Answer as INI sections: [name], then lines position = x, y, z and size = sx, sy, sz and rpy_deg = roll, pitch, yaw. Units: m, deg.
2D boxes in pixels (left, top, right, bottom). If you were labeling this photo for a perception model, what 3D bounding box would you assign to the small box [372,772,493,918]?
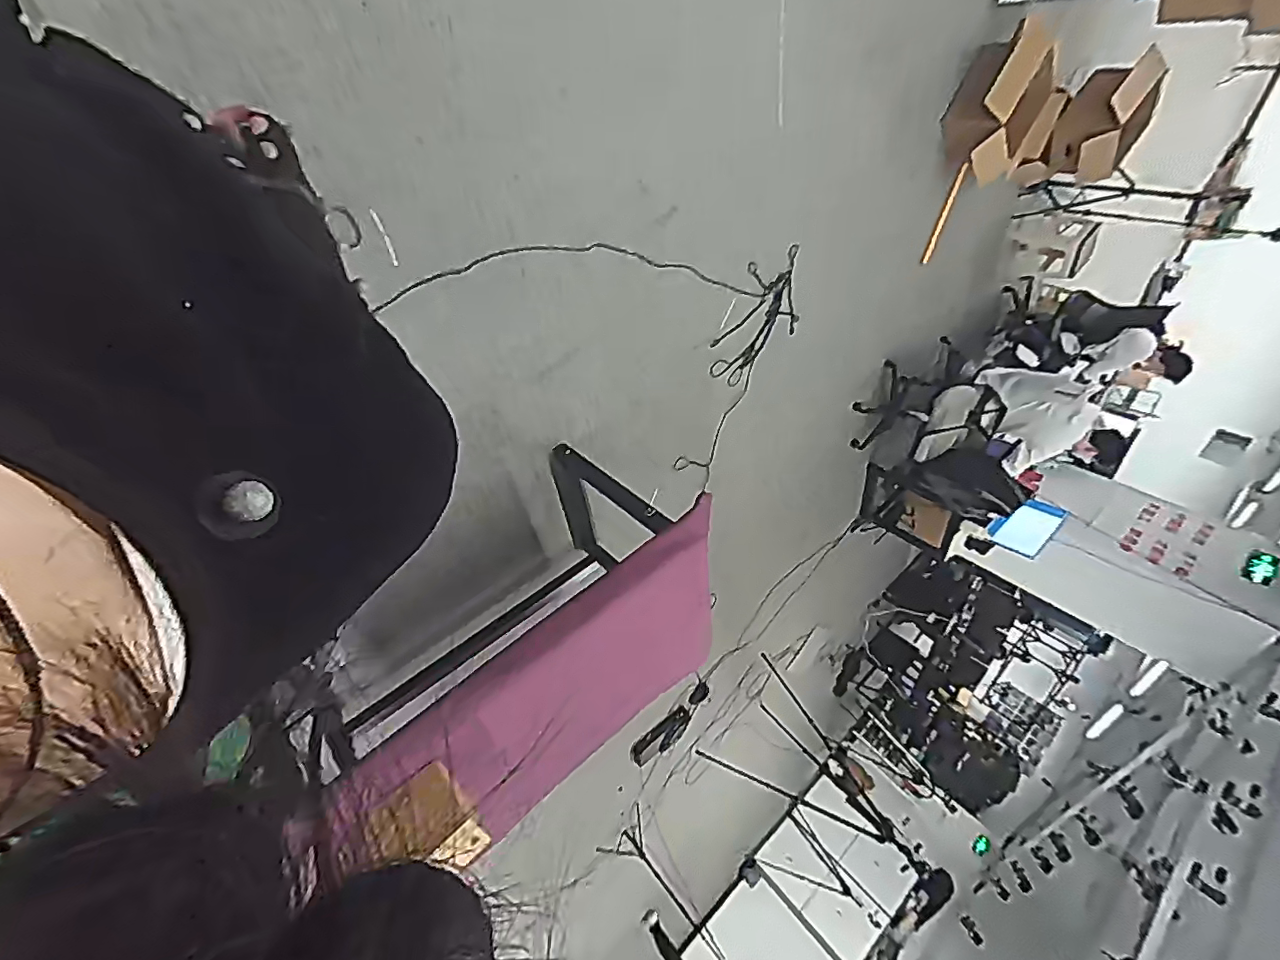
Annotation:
[small box]
position = -0.452, 0.784, 1.170
size = 0.179, 0.176, 0.168
rpy_deg = -33, 138, -26
